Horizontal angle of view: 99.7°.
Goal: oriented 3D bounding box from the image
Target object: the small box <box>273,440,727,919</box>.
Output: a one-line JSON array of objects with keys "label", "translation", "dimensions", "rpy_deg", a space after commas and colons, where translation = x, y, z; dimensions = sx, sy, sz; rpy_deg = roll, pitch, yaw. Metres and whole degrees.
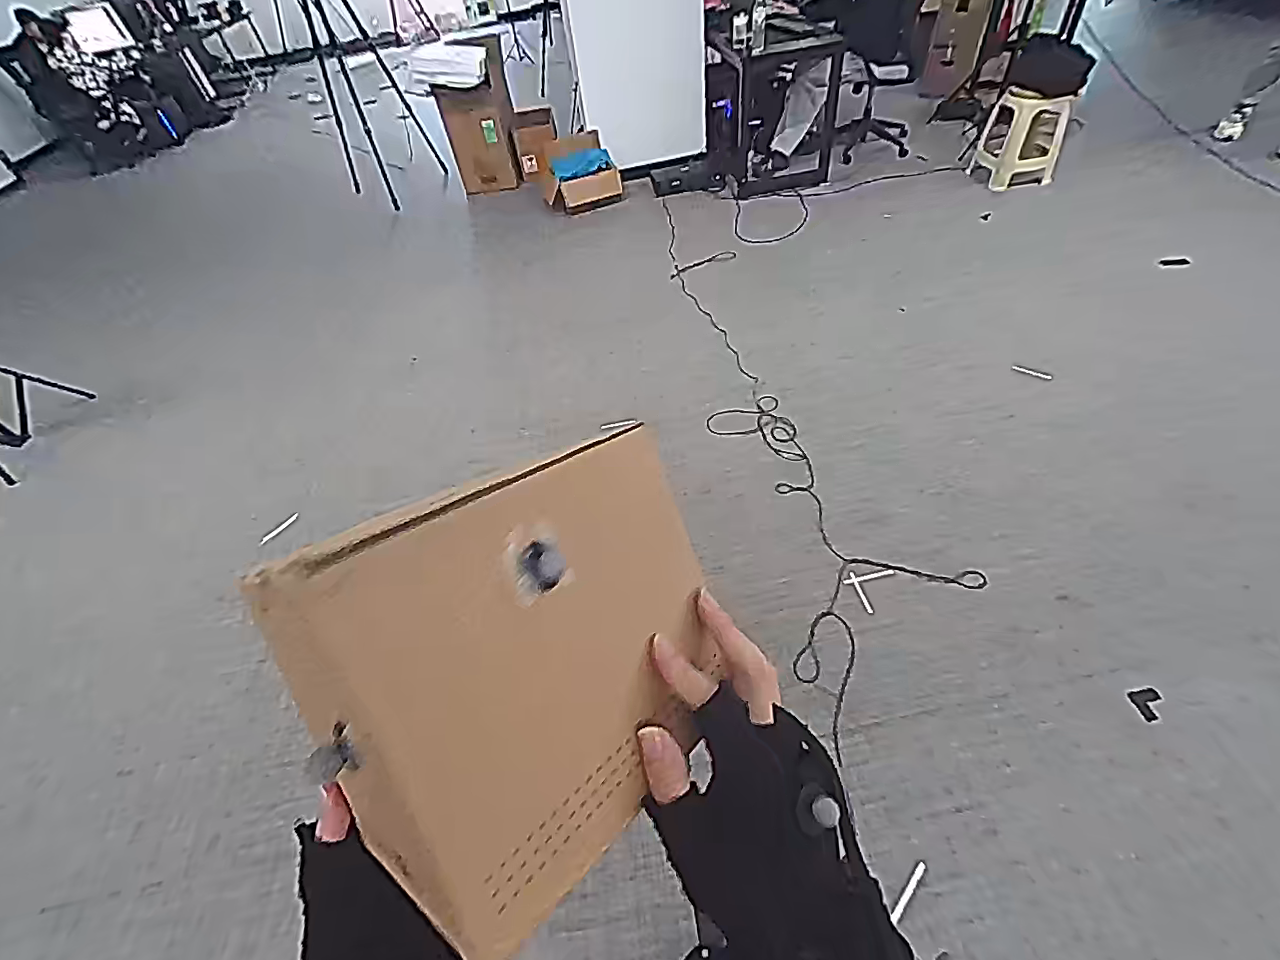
[{"label": "small box", "translation": [-0.074, 0.095, 0.319], "dimensions": [0.168, 0.176, 0.179], "rpy_deg": [-15, 7, 46]}]
